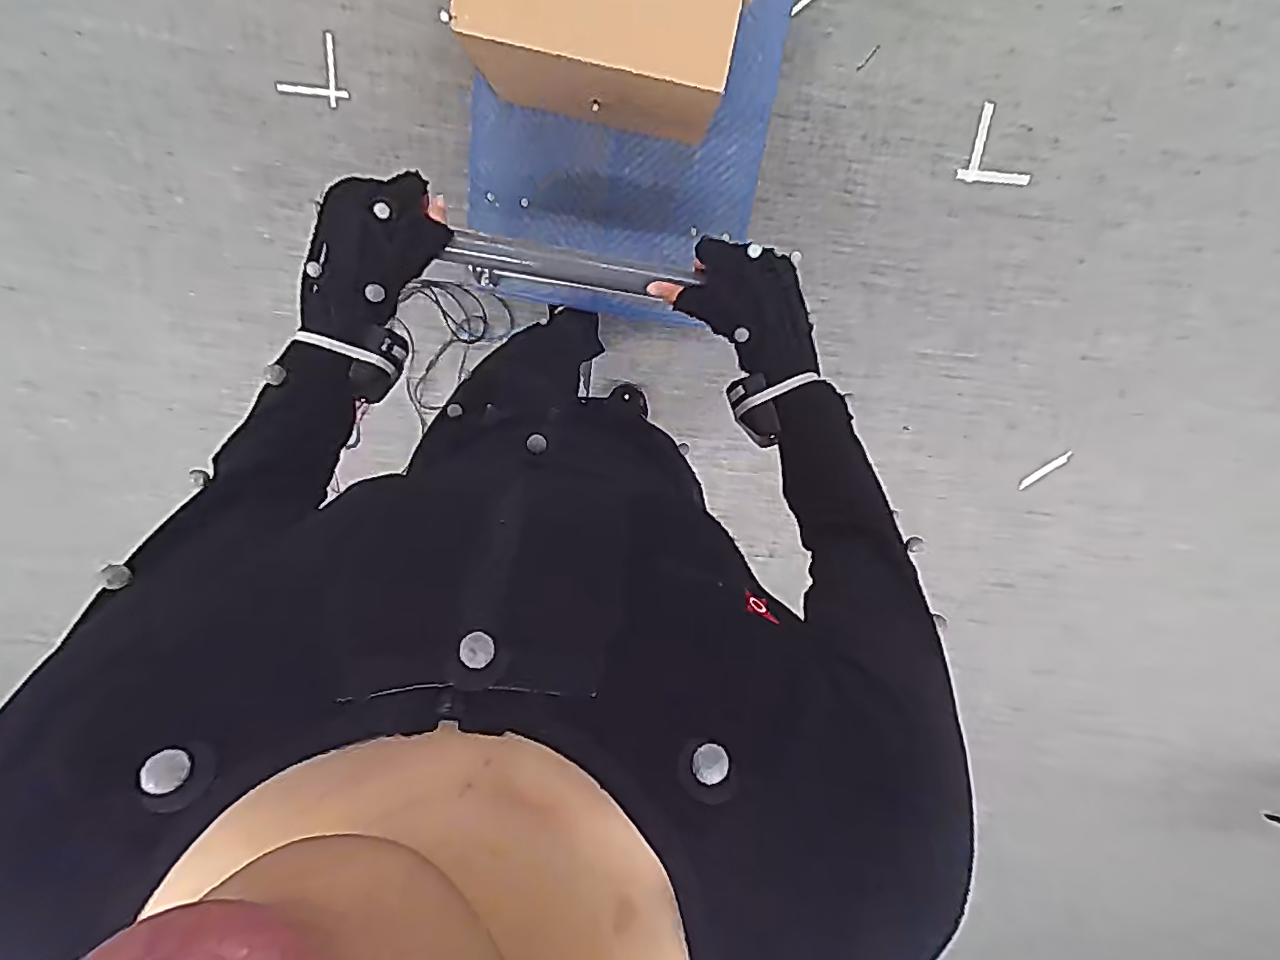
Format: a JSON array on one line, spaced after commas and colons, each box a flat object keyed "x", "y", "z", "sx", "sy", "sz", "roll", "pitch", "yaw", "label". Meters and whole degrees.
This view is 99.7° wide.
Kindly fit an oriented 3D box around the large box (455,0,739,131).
[{"x": -0.044, "y": -0.809, "z": 0.876, "sx": 0.408, "sy": 0.320, "sz": 0.320, "roll": 10, "pitch": 109, "yaw": -3, "label": "large box"}]
